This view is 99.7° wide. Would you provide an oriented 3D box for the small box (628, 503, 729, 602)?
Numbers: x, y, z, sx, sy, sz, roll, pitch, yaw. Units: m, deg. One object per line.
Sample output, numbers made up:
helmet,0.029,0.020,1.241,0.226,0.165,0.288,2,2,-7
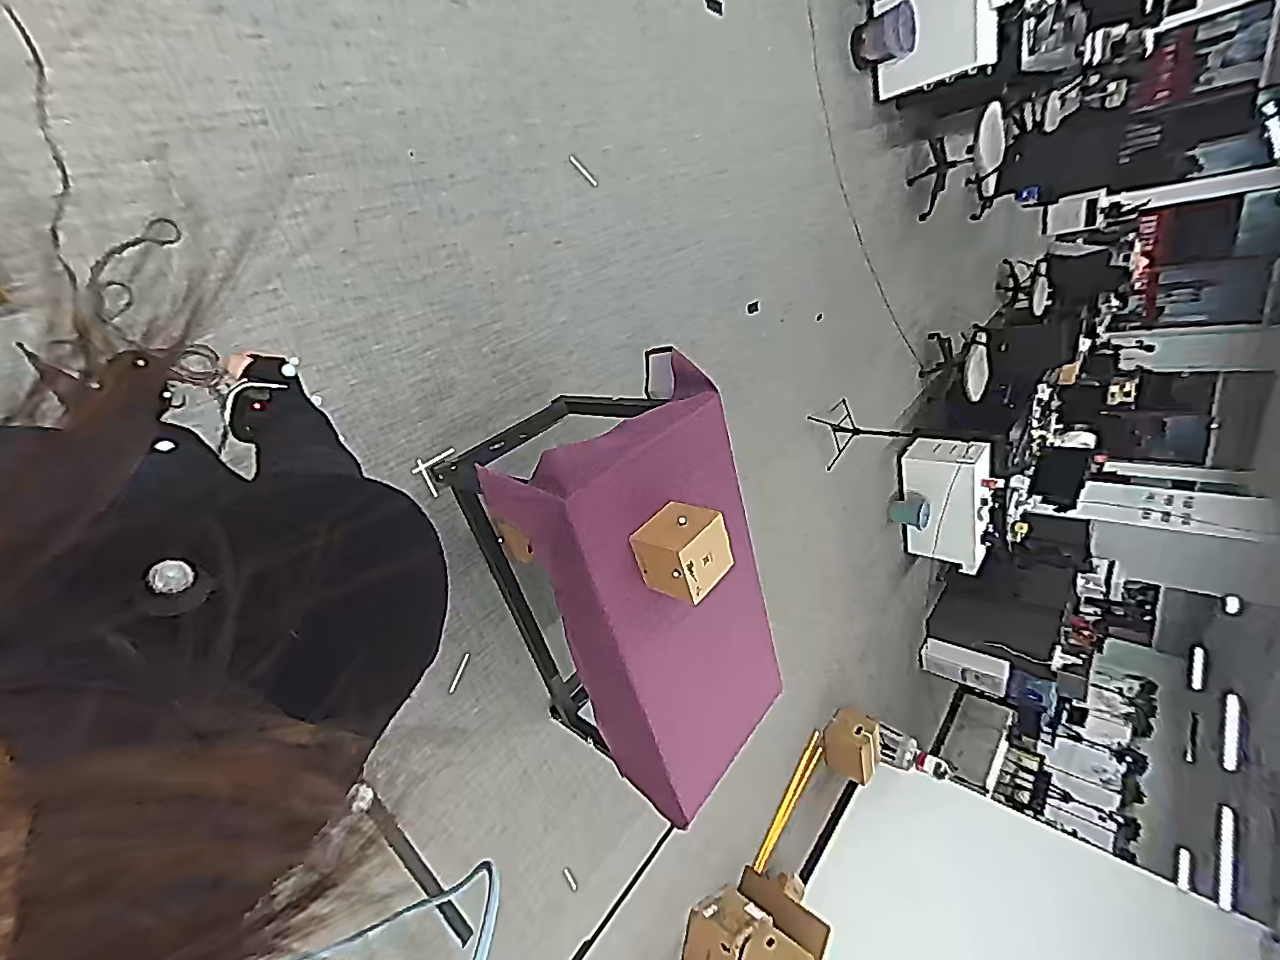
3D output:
small box,0.099,0.176,1.378,0.179,0.176,0.168,-39,123,-35
